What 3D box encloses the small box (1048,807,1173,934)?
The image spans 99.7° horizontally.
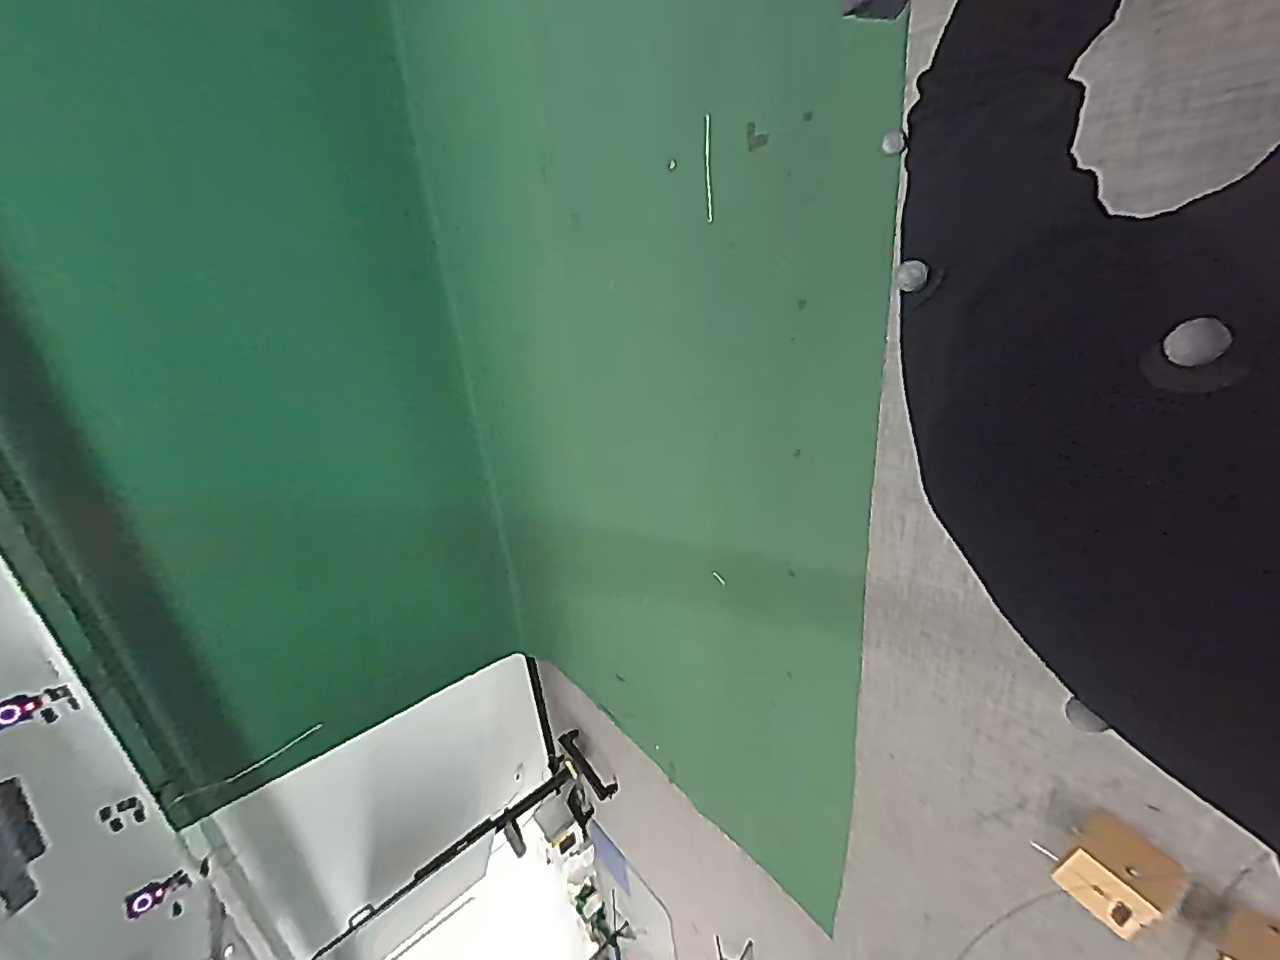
[{"bbox_3d":[1.223,1.006,1.404,0.179,0.176,0.168,37,135,39],"label":"small box"}]
